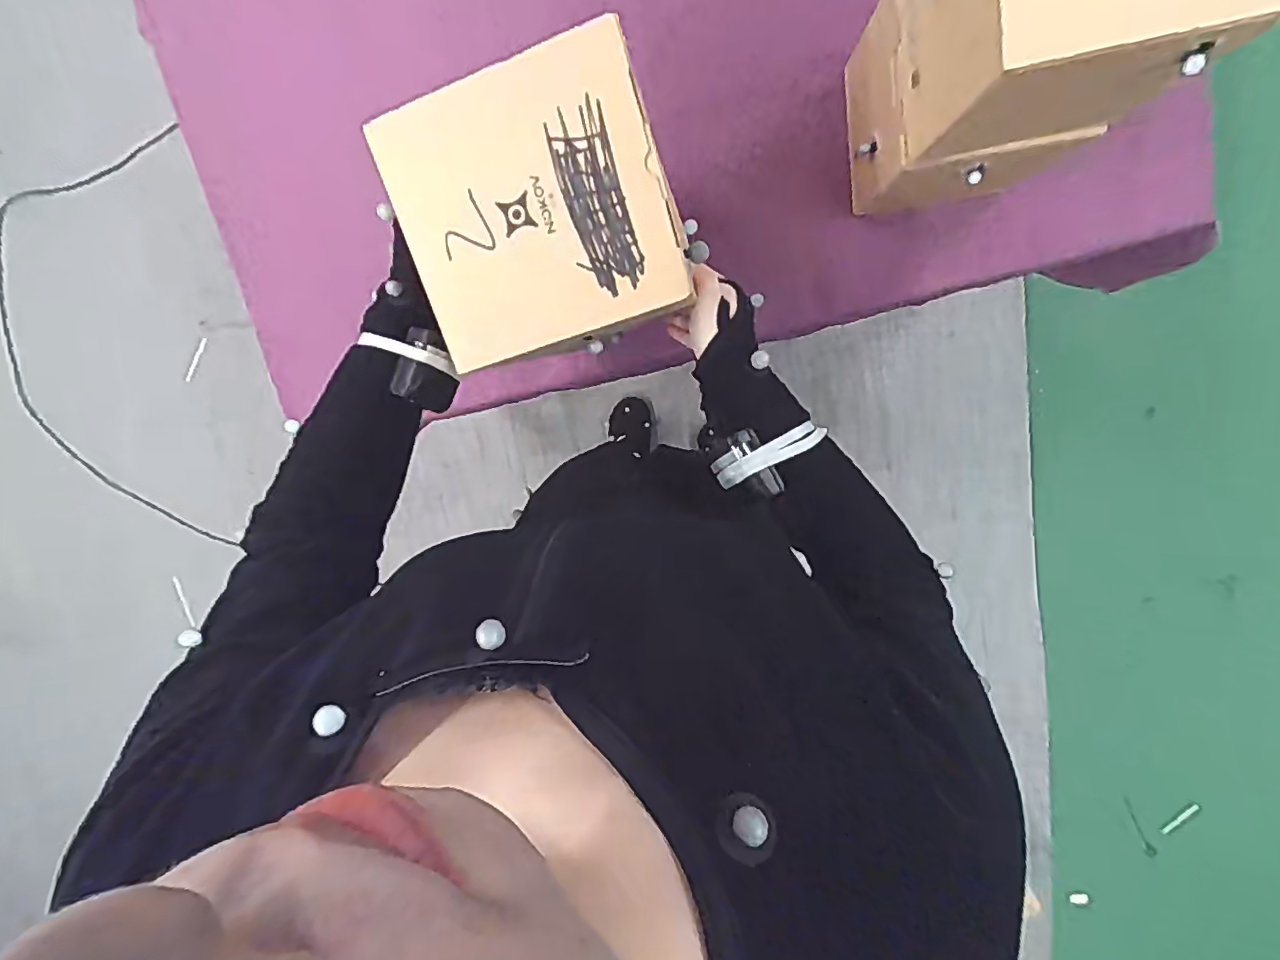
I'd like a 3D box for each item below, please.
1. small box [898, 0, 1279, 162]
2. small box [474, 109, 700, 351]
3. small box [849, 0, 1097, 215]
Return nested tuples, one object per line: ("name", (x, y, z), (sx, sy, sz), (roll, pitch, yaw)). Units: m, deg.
("small box", (0.306, -0.364, 0.400), (0.179, 0.176, 0.168), (-8, 101, 7))
("small box", (-0.041, -0.247, 0.582), (0.179, 0.176, 0.168), (-18, 103, 11))
("small box", (0.323, -0.391, 0.559), (0.179, 0.176, 0.168), (-6, 102, 7))
